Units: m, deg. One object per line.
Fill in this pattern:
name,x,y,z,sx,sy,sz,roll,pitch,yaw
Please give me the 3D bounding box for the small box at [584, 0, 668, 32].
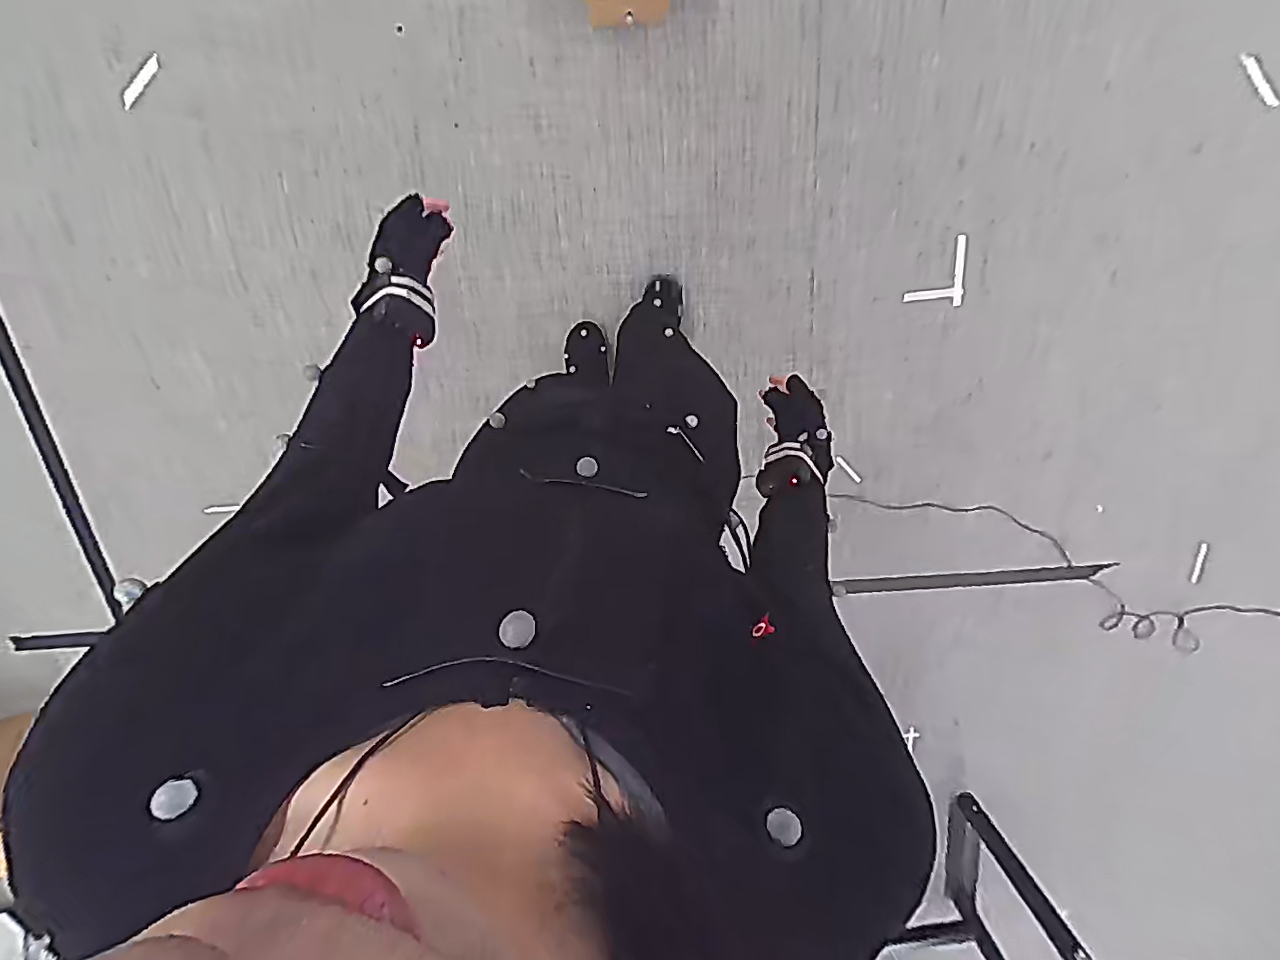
small box,-0.032,-1.064,1.116,0.179,0.176,0.168,-6,108,-1
